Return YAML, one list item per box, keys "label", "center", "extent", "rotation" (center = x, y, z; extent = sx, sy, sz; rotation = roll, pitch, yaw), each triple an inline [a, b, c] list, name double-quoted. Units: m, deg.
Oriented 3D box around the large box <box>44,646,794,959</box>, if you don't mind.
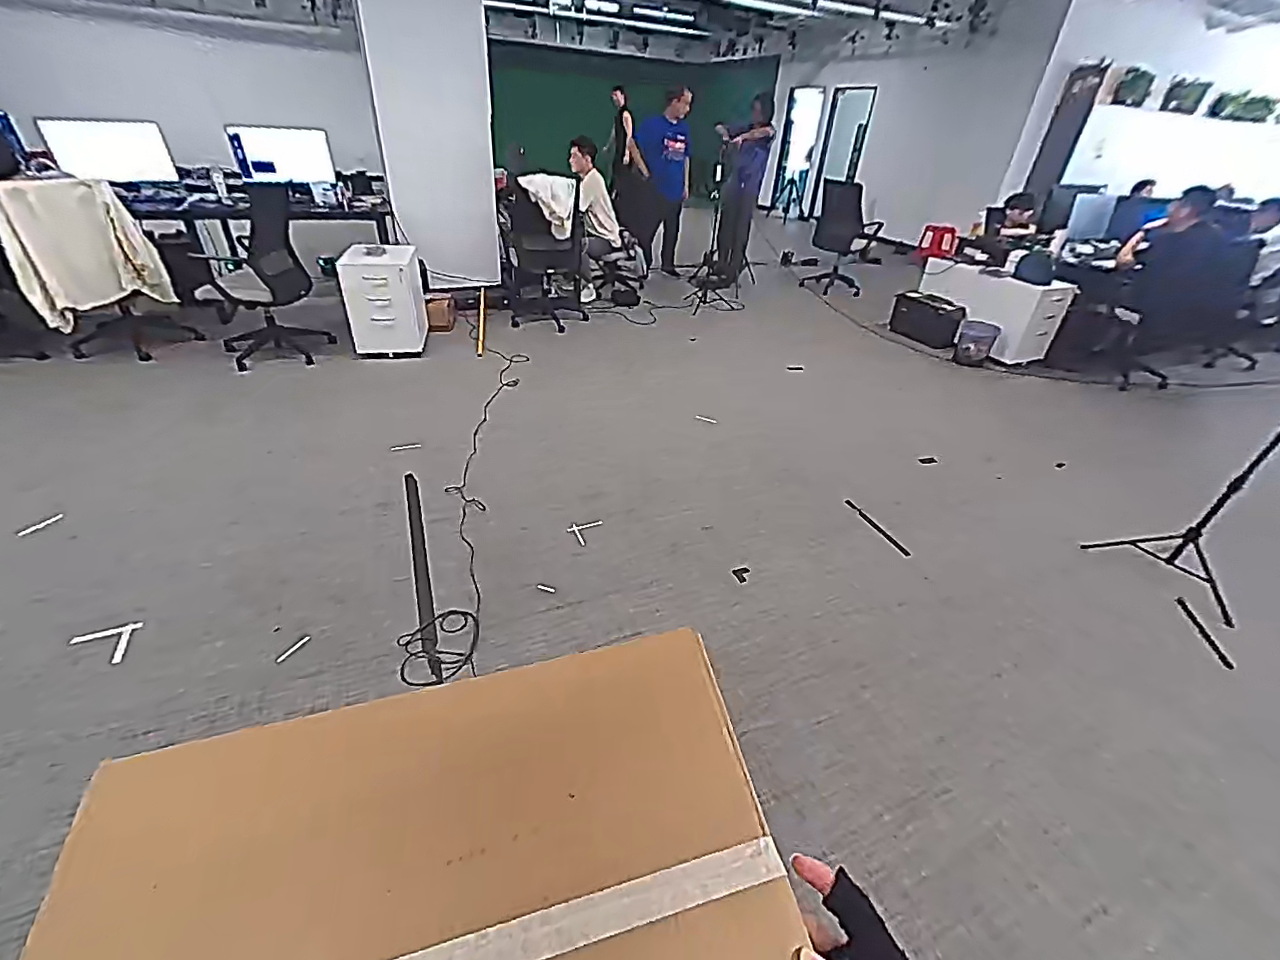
- label: "large box"
  center: [-0.119, 0.374, 0.402]
  extent: [0.408, 0.320, 0.320]
  rotation: [-10, 47, -12]
